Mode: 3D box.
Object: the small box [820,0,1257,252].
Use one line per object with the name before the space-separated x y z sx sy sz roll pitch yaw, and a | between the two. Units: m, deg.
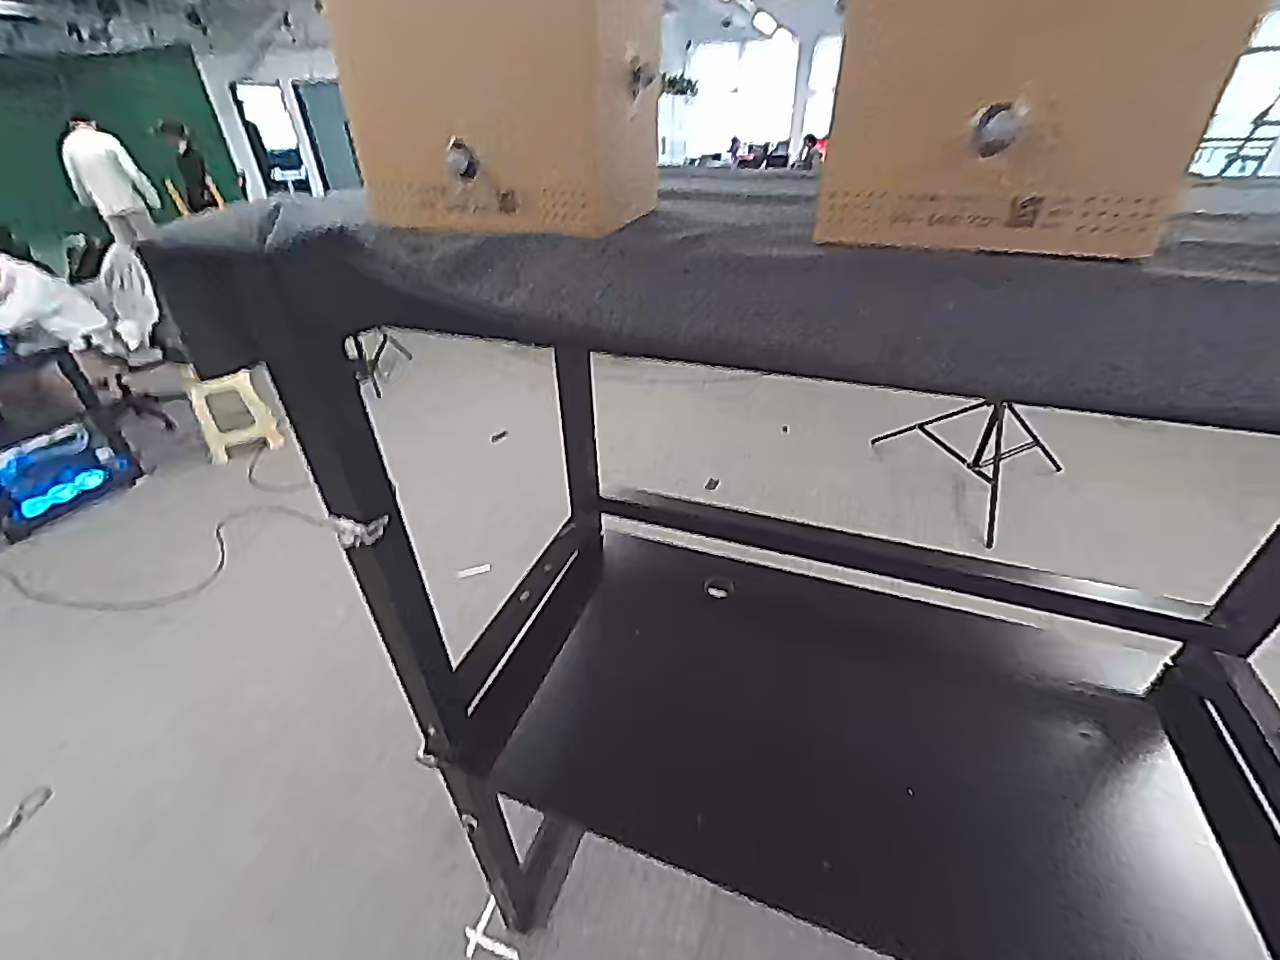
small box | 0.209 -0.240 0.318 0.168 0.176 0.179 11 33 19
